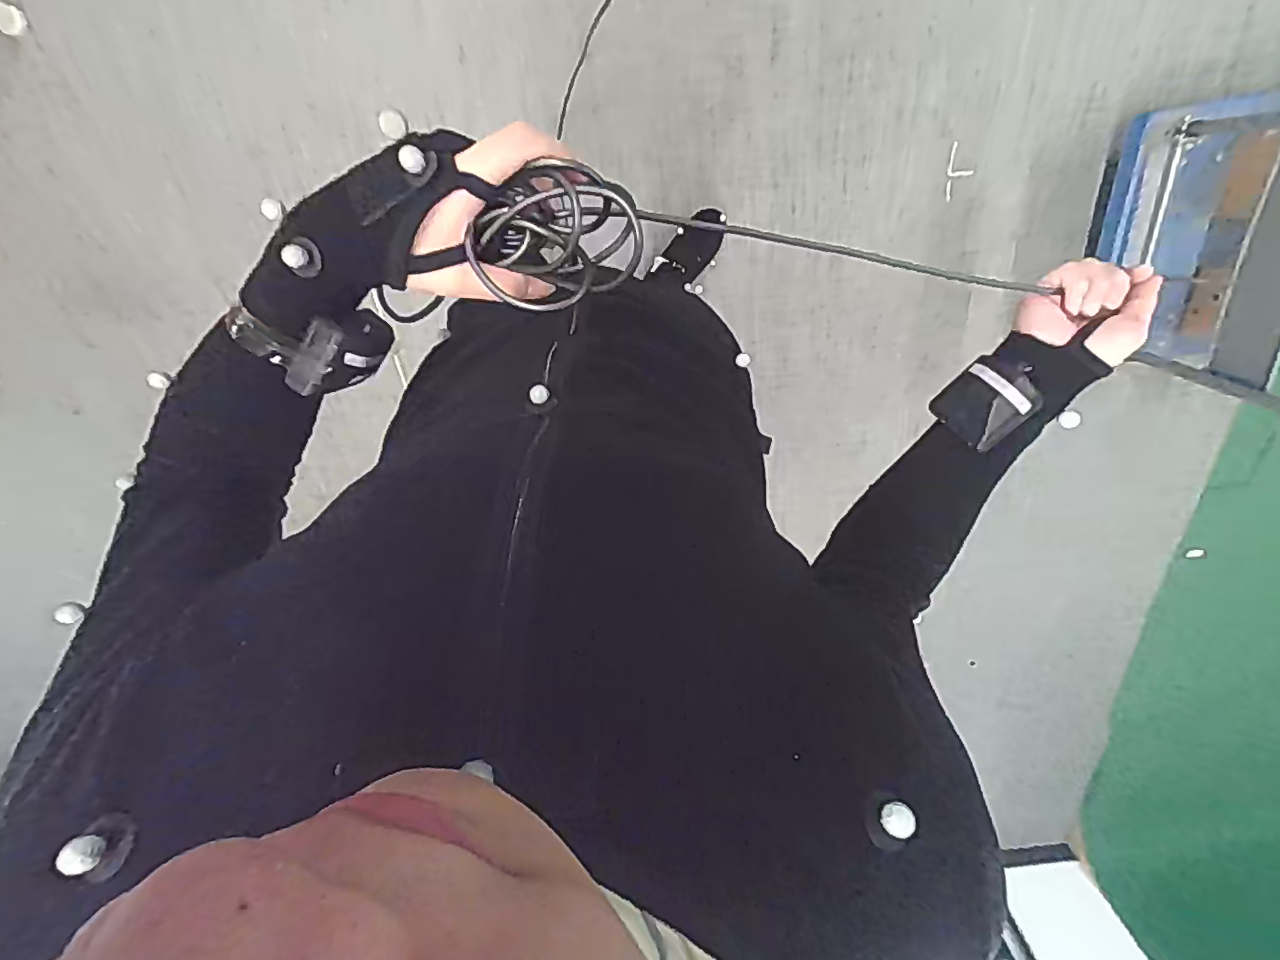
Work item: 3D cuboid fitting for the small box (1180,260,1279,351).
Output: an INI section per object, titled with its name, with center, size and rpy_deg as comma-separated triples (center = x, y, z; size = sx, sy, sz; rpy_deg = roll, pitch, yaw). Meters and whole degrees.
[small box]
center = 1.453, -0.413, 1.269
size = 0.179, 0.176, 0.168
rpy_deg = -6, 117, 3
